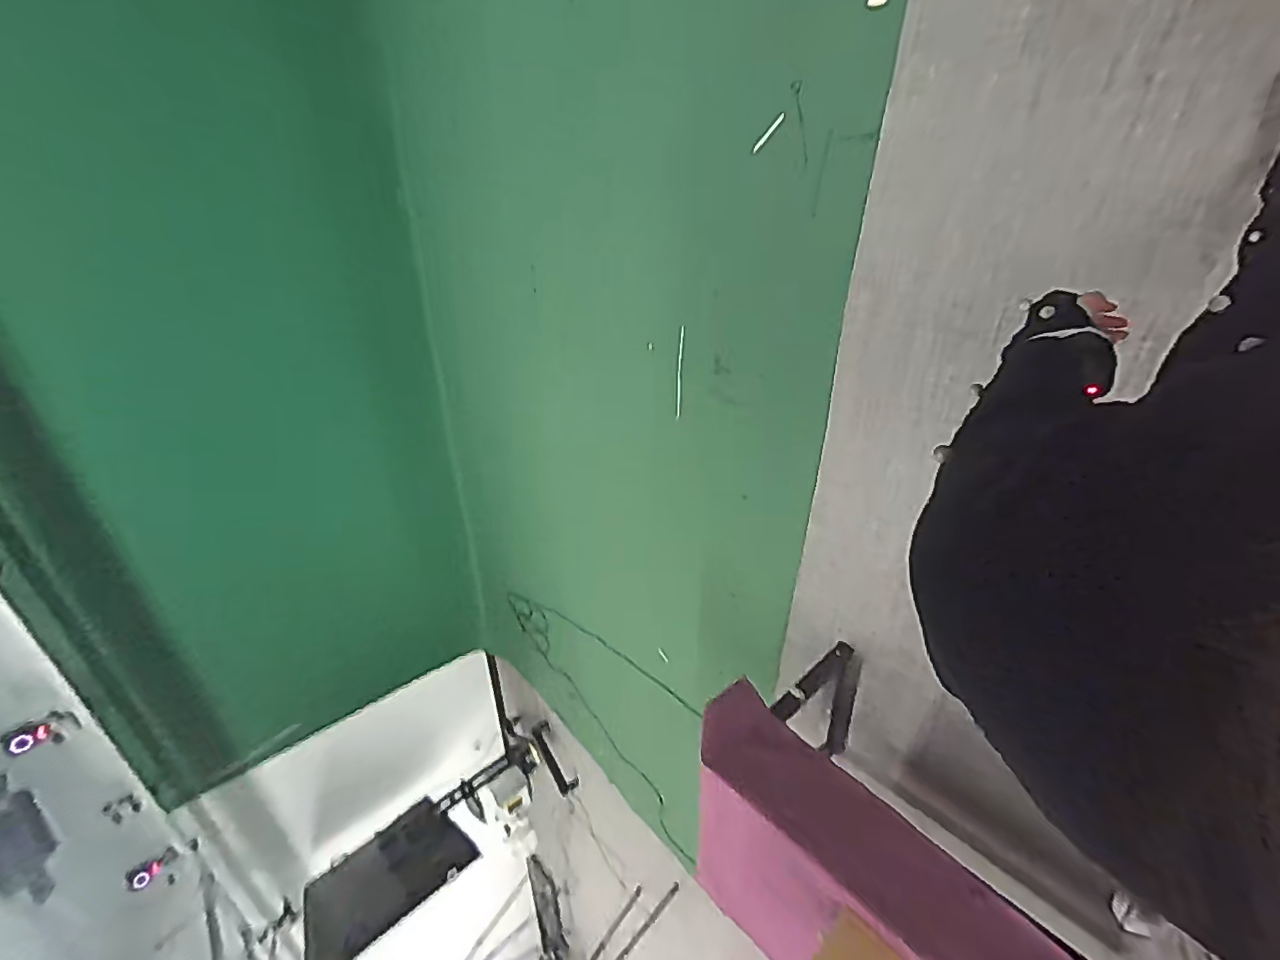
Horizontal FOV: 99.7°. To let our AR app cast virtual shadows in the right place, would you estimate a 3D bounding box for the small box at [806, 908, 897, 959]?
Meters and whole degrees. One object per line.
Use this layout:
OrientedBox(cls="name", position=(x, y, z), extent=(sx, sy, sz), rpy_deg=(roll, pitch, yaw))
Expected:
OrientedBox(cls="small box", position=(0.461, 1.104, 1.180), extent=(0.179, 0.176, 0.168), rpy_deg=(28, 129, 41))
